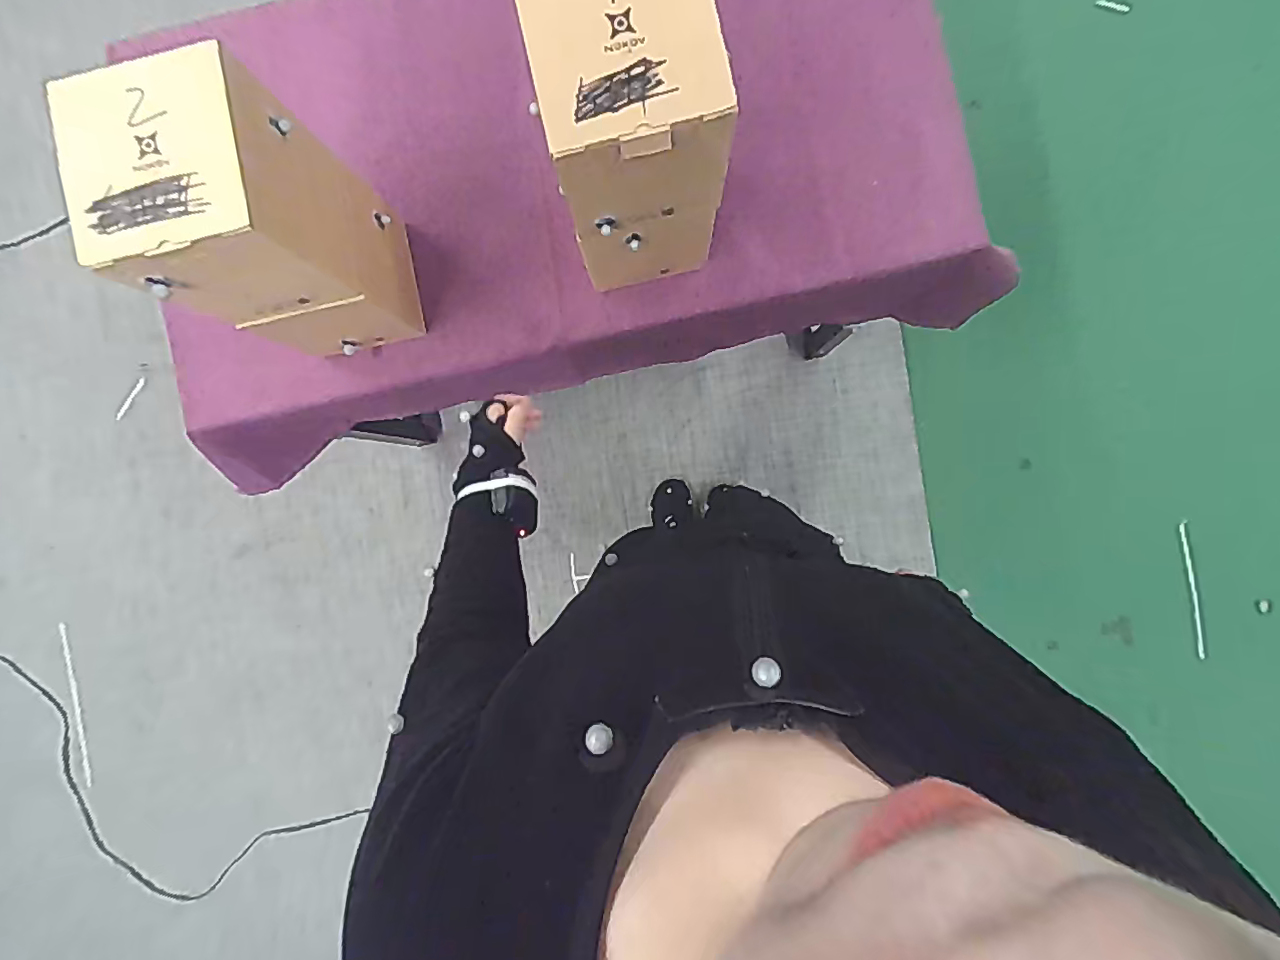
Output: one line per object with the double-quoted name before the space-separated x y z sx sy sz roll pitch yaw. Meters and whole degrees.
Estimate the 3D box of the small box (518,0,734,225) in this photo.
"small box" -0.010 -0.379 0.539 0.168 0.176 0.179 -13 89 3

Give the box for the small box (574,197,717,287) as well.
"small box" -0.002 -0.379 0.703 0.168 0.176 0.179 -12 89 4

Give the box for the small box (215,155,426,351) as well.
"small box" -0.412 -0.290 0.726 0.168 0.176 0.179 -11 91 4
